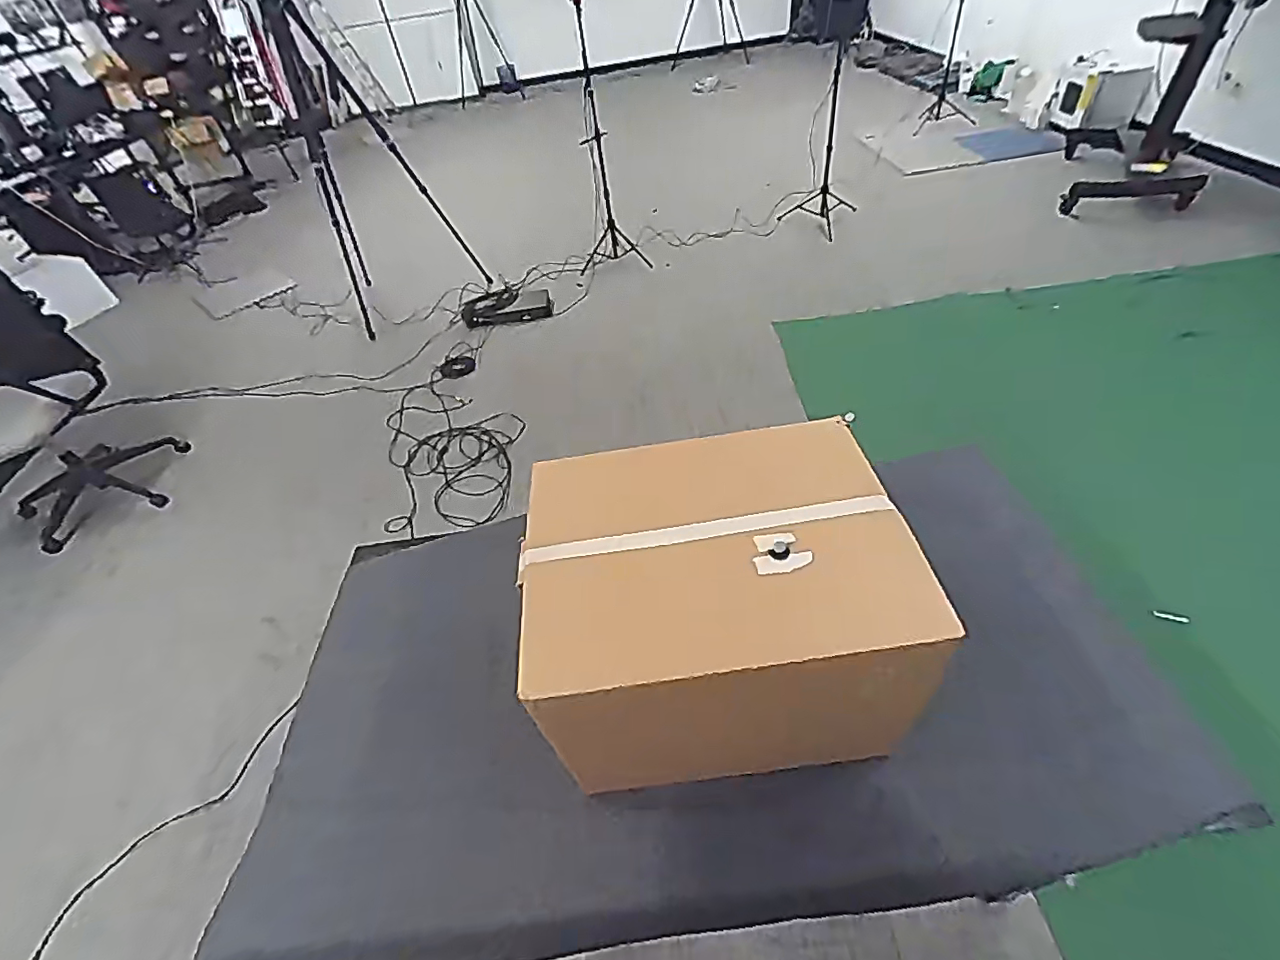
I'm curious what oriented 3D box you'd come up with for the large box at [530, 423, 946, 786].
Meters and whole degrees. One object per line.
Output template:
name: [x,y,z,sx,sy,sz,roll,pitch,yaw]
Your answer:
large box: [0.091,0.165,0.710,0.408,0.320,0.320,-9,46,1]
